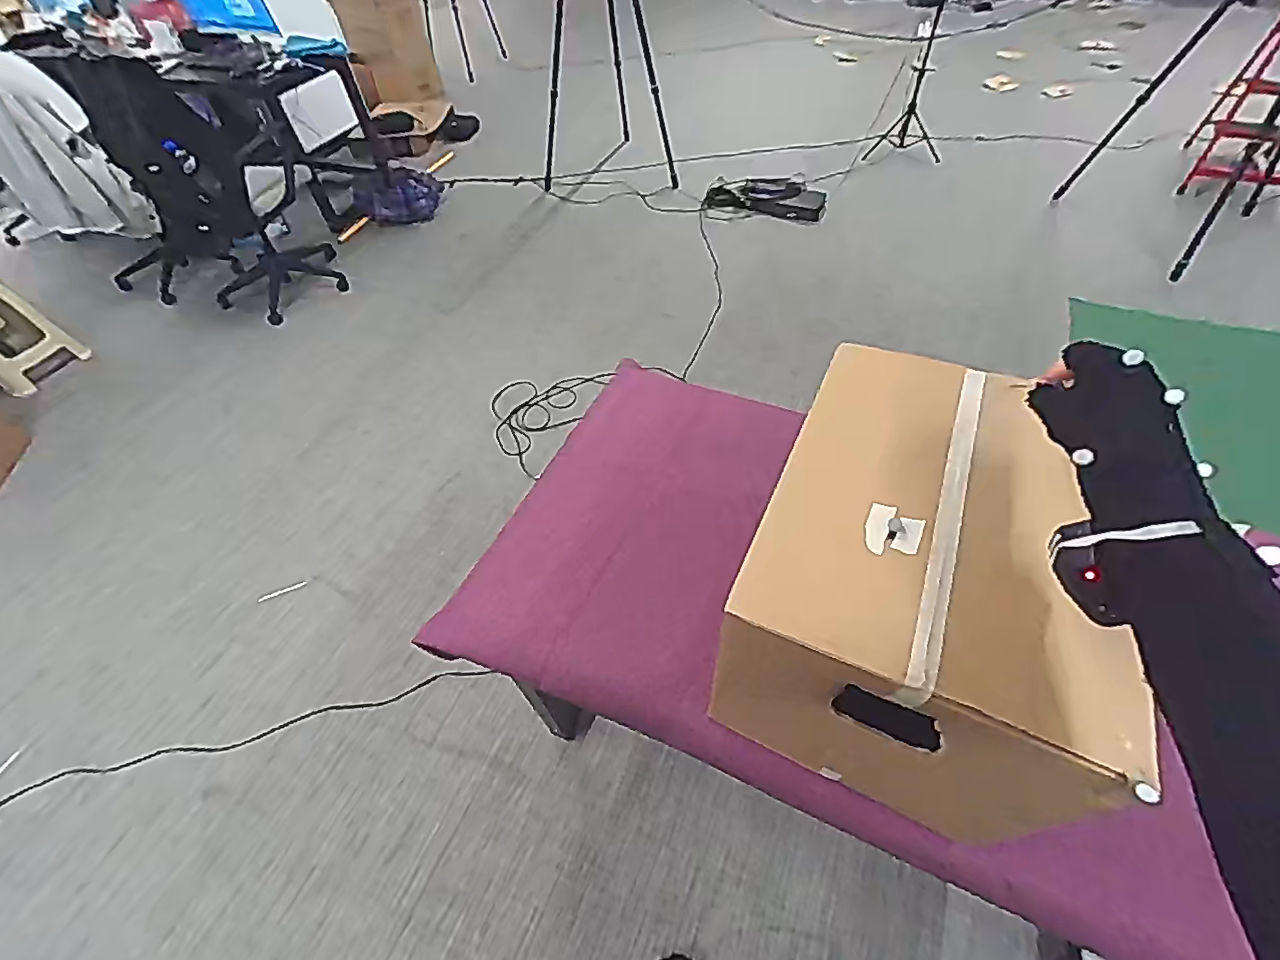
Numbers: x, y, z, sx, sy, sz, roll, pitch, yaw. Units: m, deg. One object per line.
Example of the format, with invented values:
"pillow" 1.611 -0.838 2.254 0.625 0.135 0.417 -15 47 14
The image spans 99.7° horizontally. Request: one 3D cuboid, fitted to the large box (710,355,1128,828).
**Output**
"large box" 0.305 0.121 0.654 0.320 0.320 0.408 20 56 19
